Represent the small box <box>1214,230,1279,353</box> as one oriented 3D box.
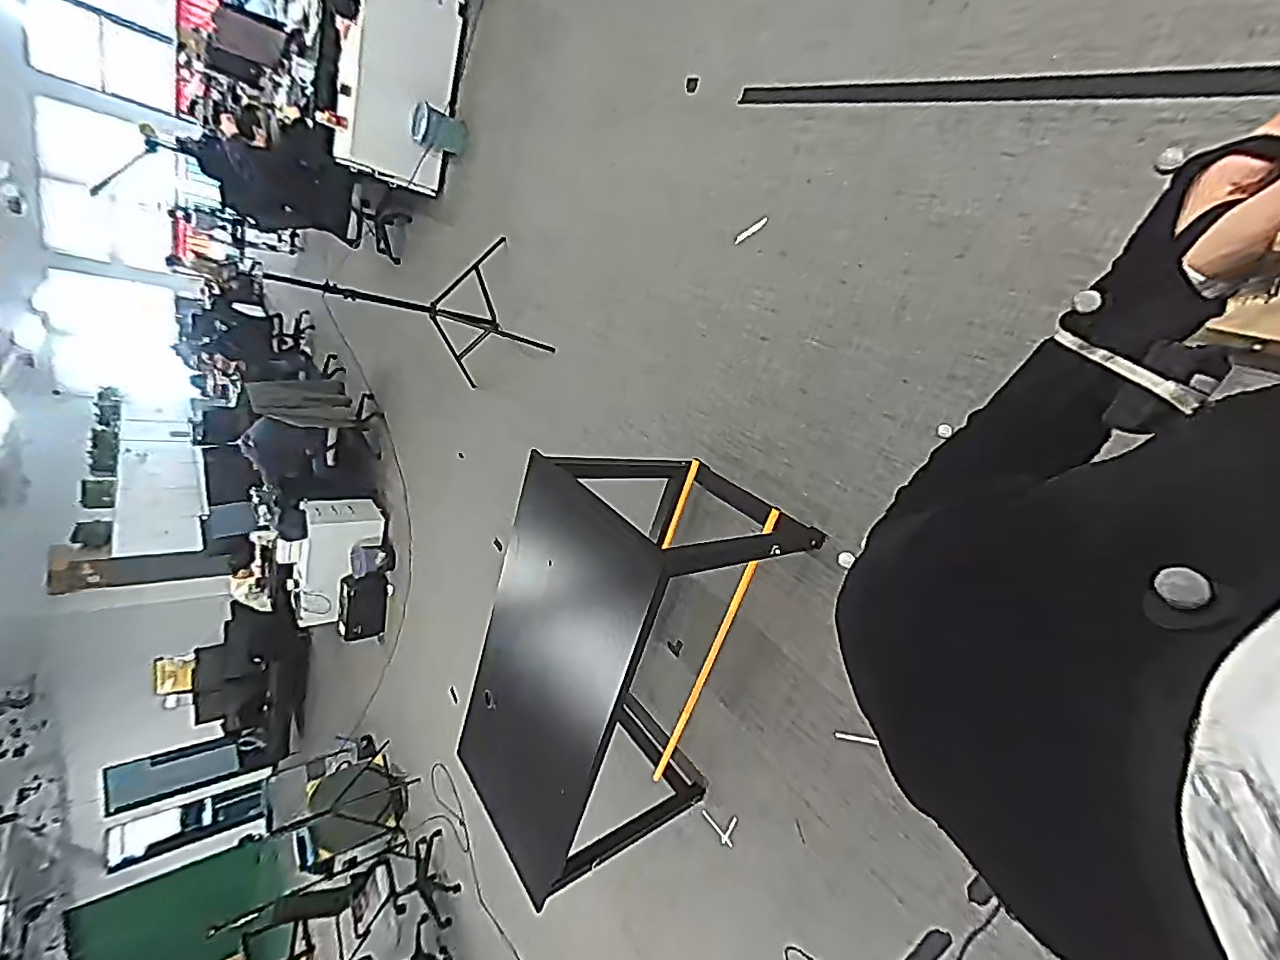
[{"bbox_3d":[1.141,-0.307,0.920,0.179,0.176,0.168,35,116,42],"label":"small box"}]
